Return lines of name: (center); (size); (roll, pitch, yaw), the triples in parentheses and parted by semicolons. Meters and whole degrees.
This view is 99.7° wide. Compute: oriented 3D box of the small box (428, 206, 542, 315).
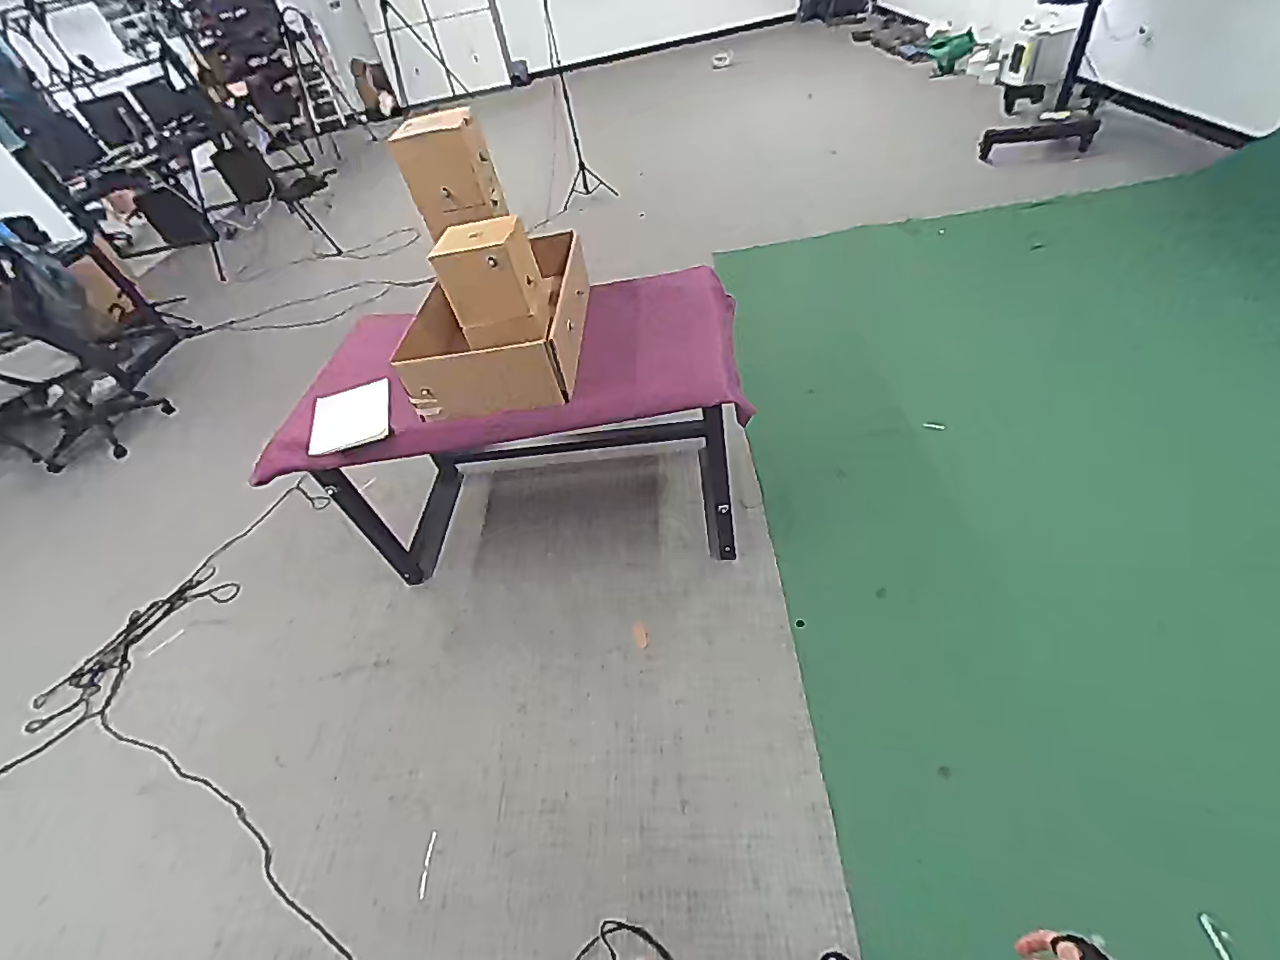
small box: (-0.338, -0.488, 1.217); (0.179, 0.176, 0.168); (-6, 45, 8)

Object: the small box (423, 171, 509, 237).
small box: (-0.438, -0.684, 1.429); (0.179, 0.176, 0.168); (-8, 47, 6)

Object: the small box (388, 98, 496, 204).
small box: (-0.468, -0.795, 1.312); (0.179, 0.176, 0.168); (-5, 47, 7)
